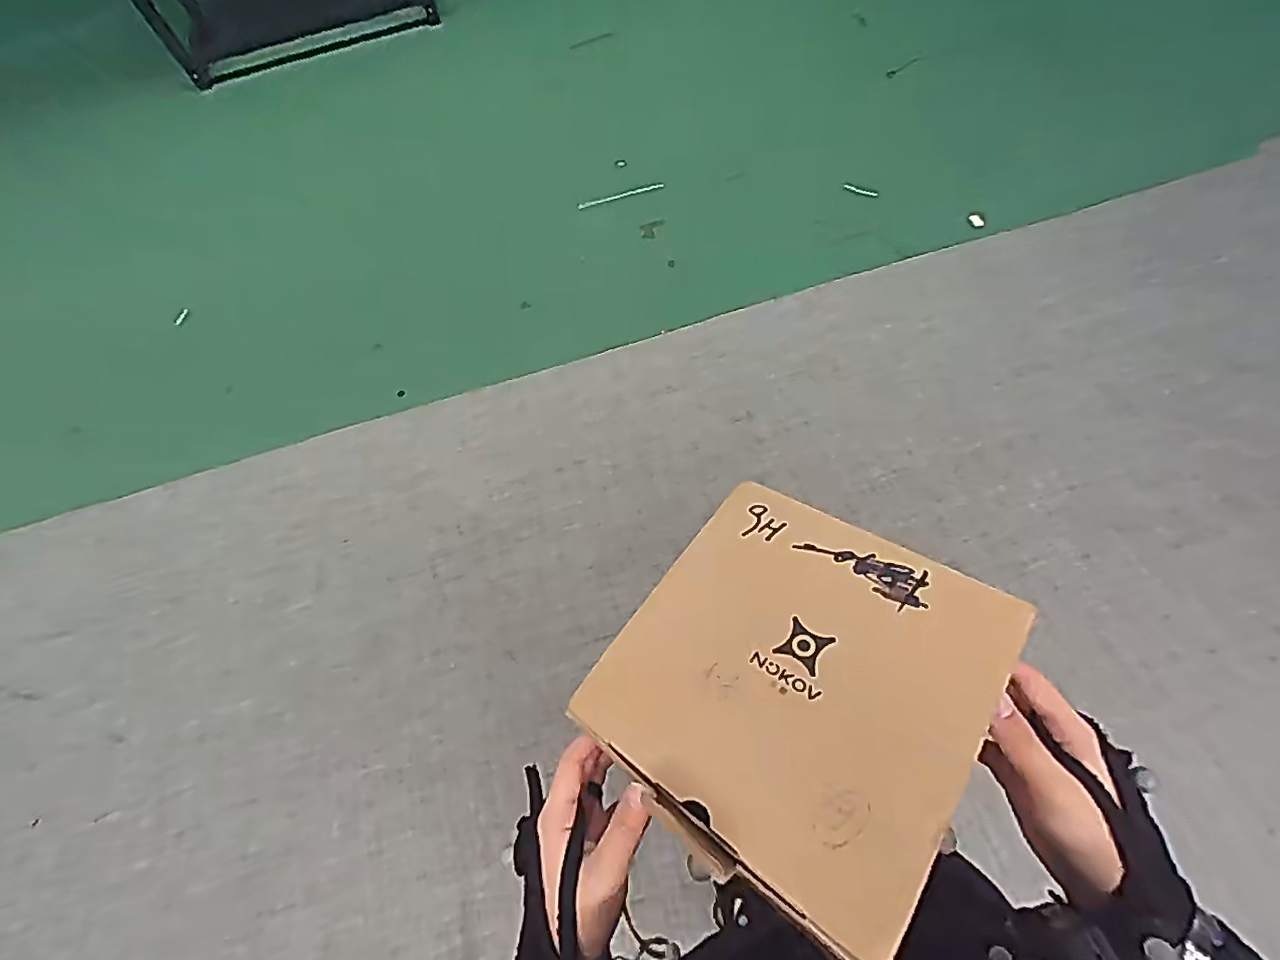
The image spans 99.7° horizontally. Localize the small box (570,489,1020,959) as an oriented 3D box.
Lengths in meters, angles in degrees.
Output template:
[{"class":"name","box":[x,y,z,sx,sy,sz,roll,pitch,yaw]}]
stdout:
[{"class":"small box","box":[0.092,0.144,0.335,0.168,0.176,0.179,27,63,31]}]
